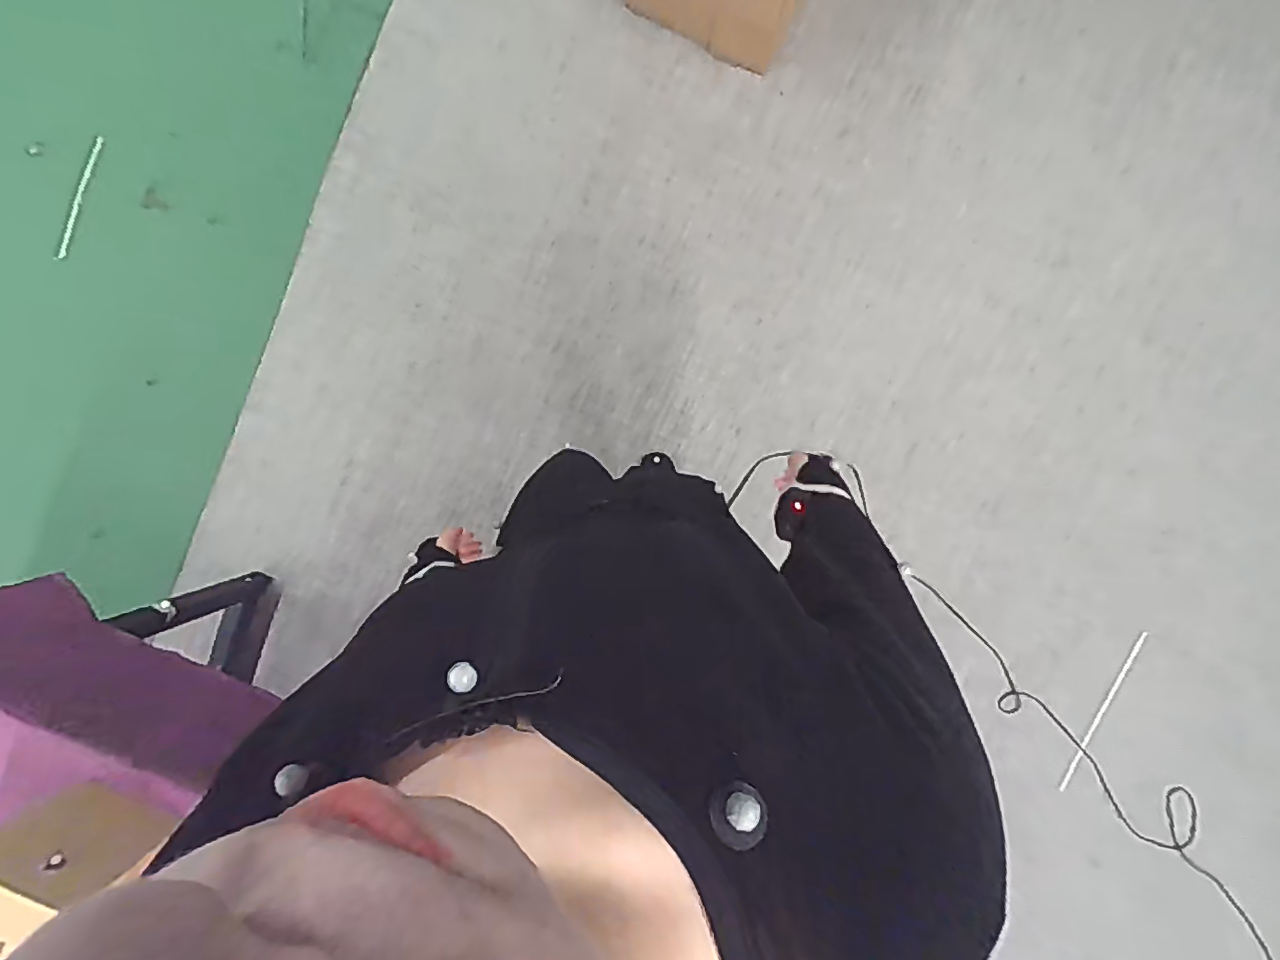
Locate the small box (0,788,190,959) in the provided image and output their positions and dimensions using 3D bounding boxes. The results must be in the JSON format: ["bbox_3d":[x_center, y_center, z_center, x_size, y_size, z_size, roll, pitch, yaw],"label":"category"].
[{"bbox_3d":[-0.805,0.583,0.770,0.179,0.176,0.168,23,95,1],"label":"small box"}]
